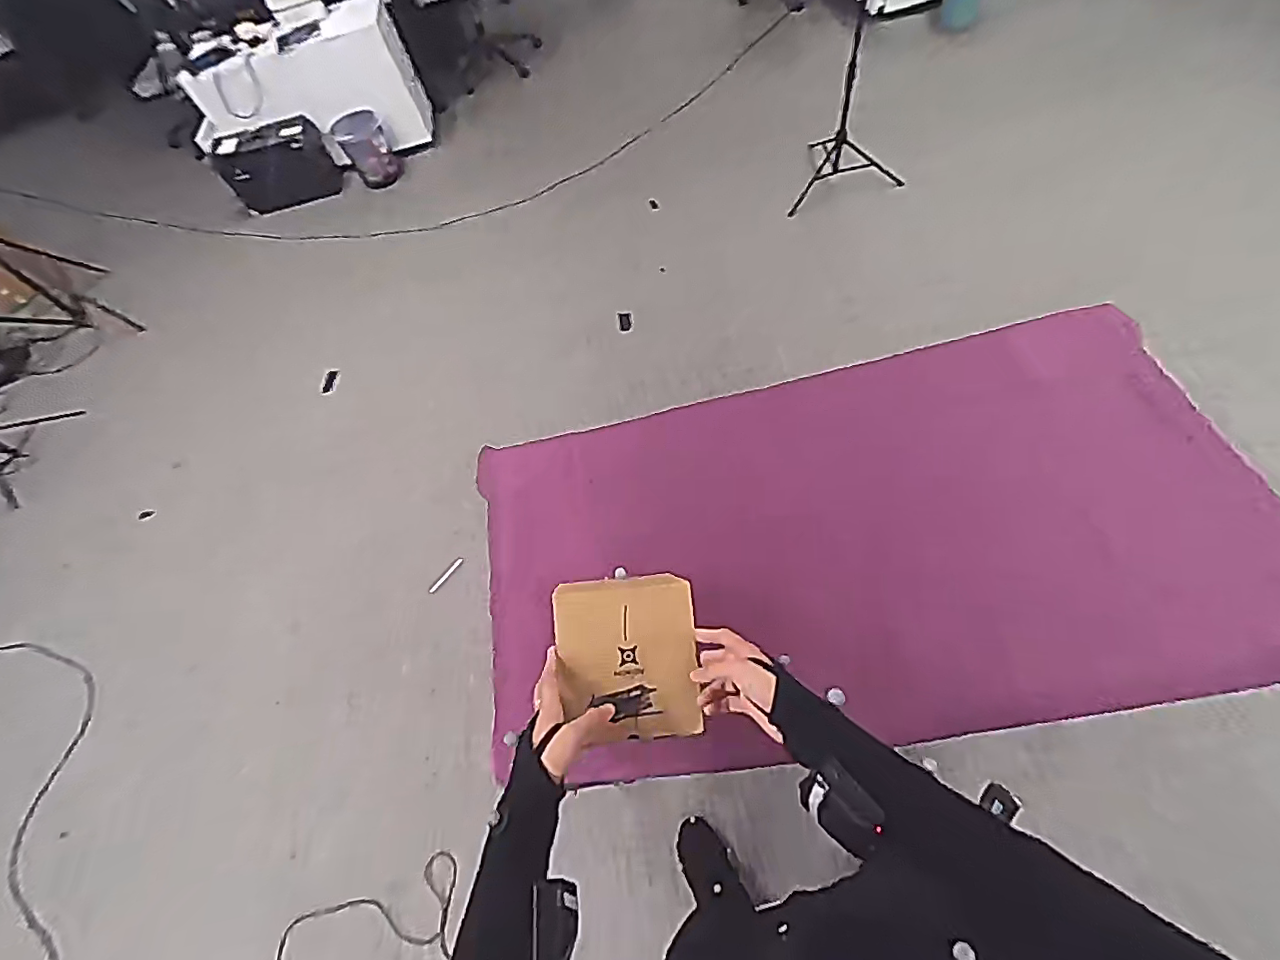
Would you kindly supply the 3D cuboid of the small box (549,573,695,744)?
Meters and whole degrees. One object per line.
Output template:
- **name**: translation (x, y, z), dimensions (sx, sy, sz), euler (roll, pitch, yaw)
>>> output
- **small box**: translation (-0.027, 0.221, 0.712), dimensions (0.168, 0.176, 0.179), euler (-4, 83, -6)
